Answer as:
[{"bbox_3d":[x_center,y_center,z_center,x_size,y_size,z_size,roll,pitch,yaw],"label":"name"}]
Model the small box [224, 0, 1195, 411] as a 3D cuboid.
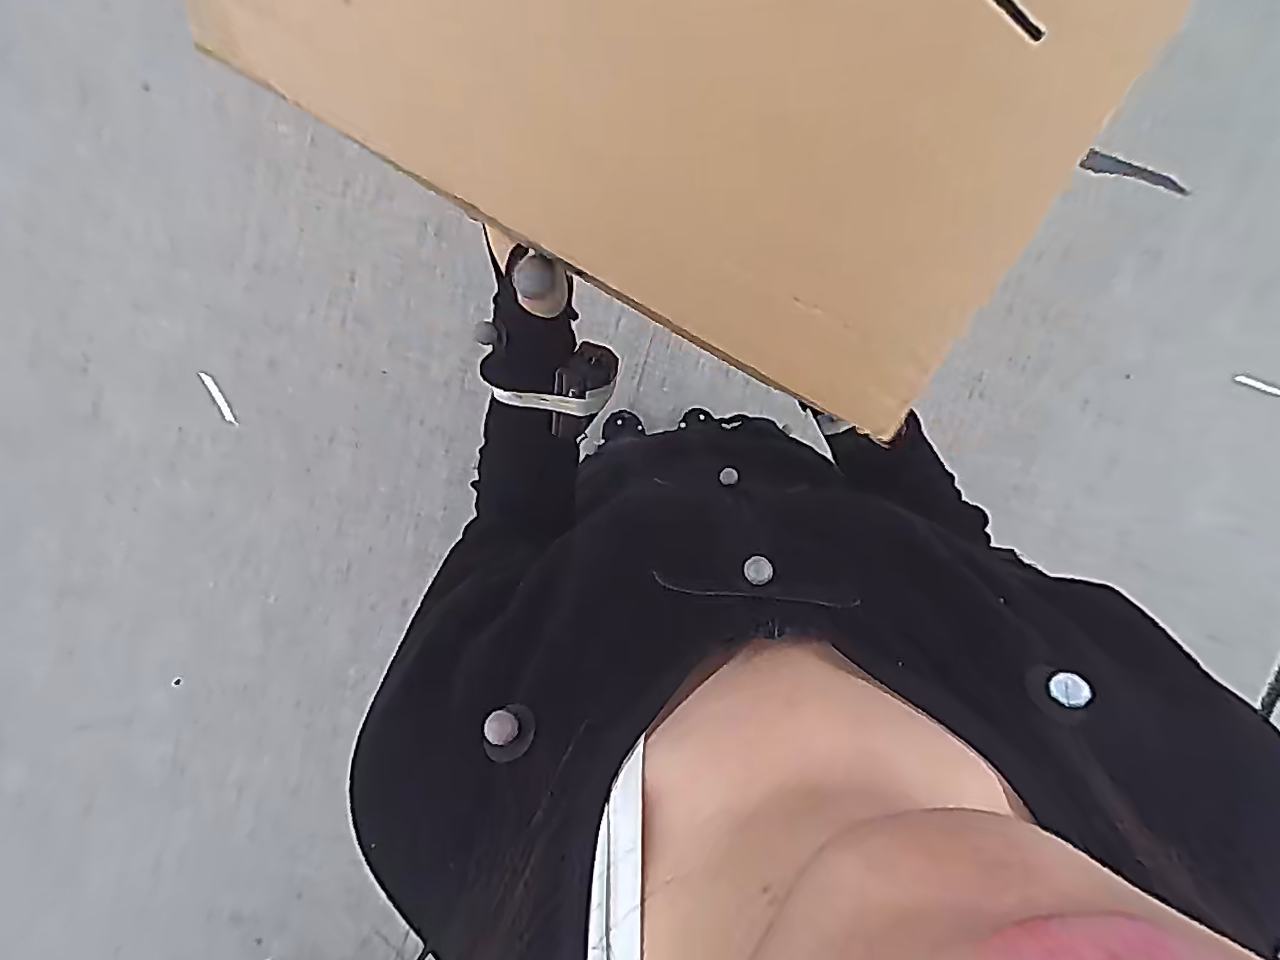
[{"bbox_3d":[0.029,-0.143,0.178,0.179,0.176,0.168,30,105,-5],"label":"small box"}]
